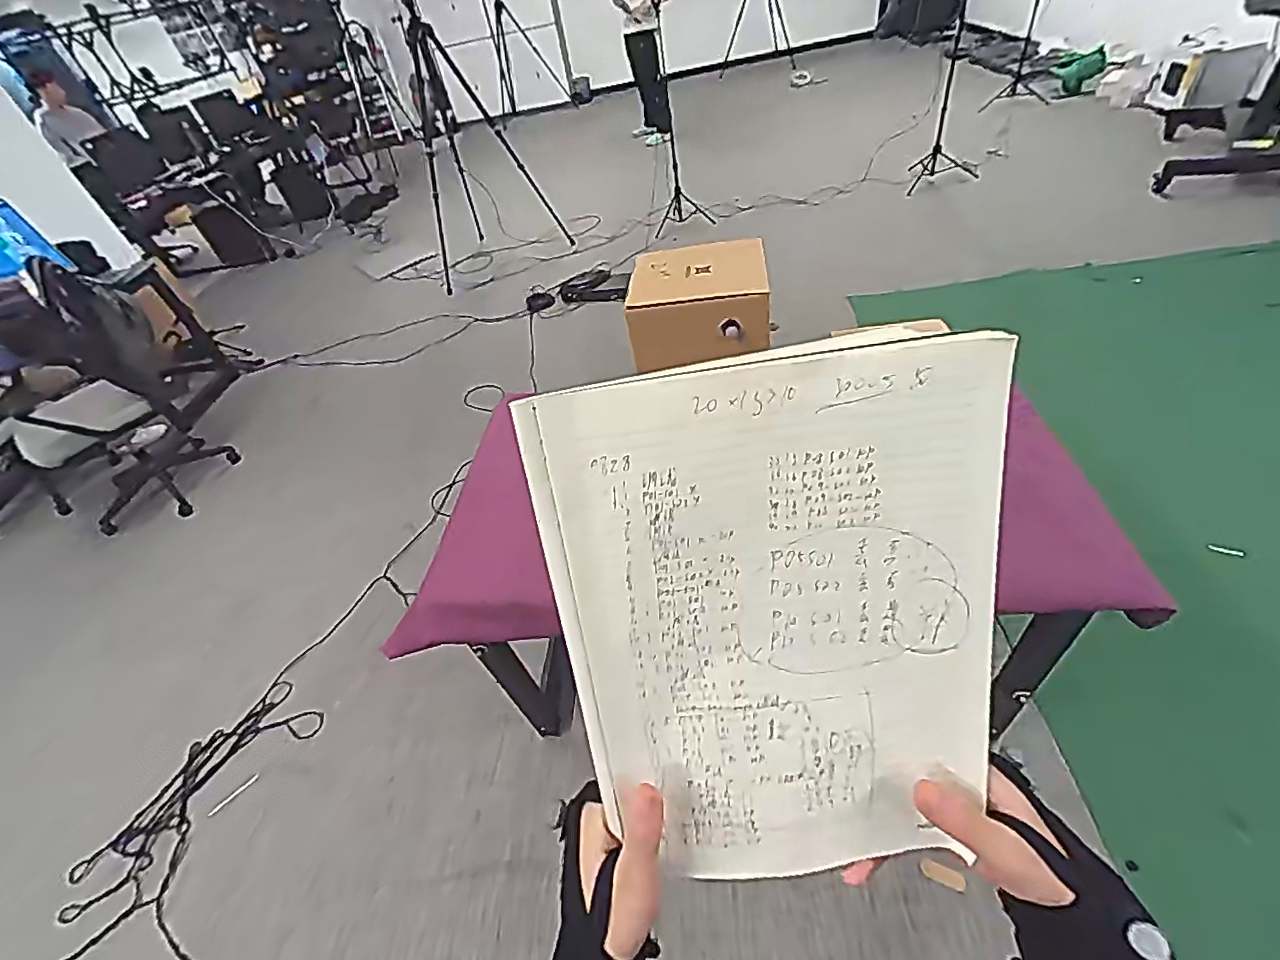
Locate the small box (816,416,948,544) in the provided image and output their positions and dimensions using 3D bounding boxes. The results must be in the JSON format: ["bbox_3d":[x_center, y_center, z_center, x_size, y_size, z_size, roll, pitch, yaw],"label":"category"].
[{"bbox_3d":[0.404,-0.001,0.937,0.168,0.176,0.179,-4,43,9],"label":"small box"}]

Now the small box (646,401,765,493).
[{"bbox_3d":[0.109,-0.091,0.864,0.168,0.176,0.179,-4,43,10],"label":"small box"}]

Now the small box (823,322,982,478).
[{"bbox_3d":[0.381,-0.115,0.821,0.168,0.176,0.179,-4,43,8],"label":"small box"}]

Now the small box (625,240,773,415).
[{"bbox_3d":[0.089,-0.205,0.746,0.179,0.176,0.168,-3,43,12],"label":"small box"}]
